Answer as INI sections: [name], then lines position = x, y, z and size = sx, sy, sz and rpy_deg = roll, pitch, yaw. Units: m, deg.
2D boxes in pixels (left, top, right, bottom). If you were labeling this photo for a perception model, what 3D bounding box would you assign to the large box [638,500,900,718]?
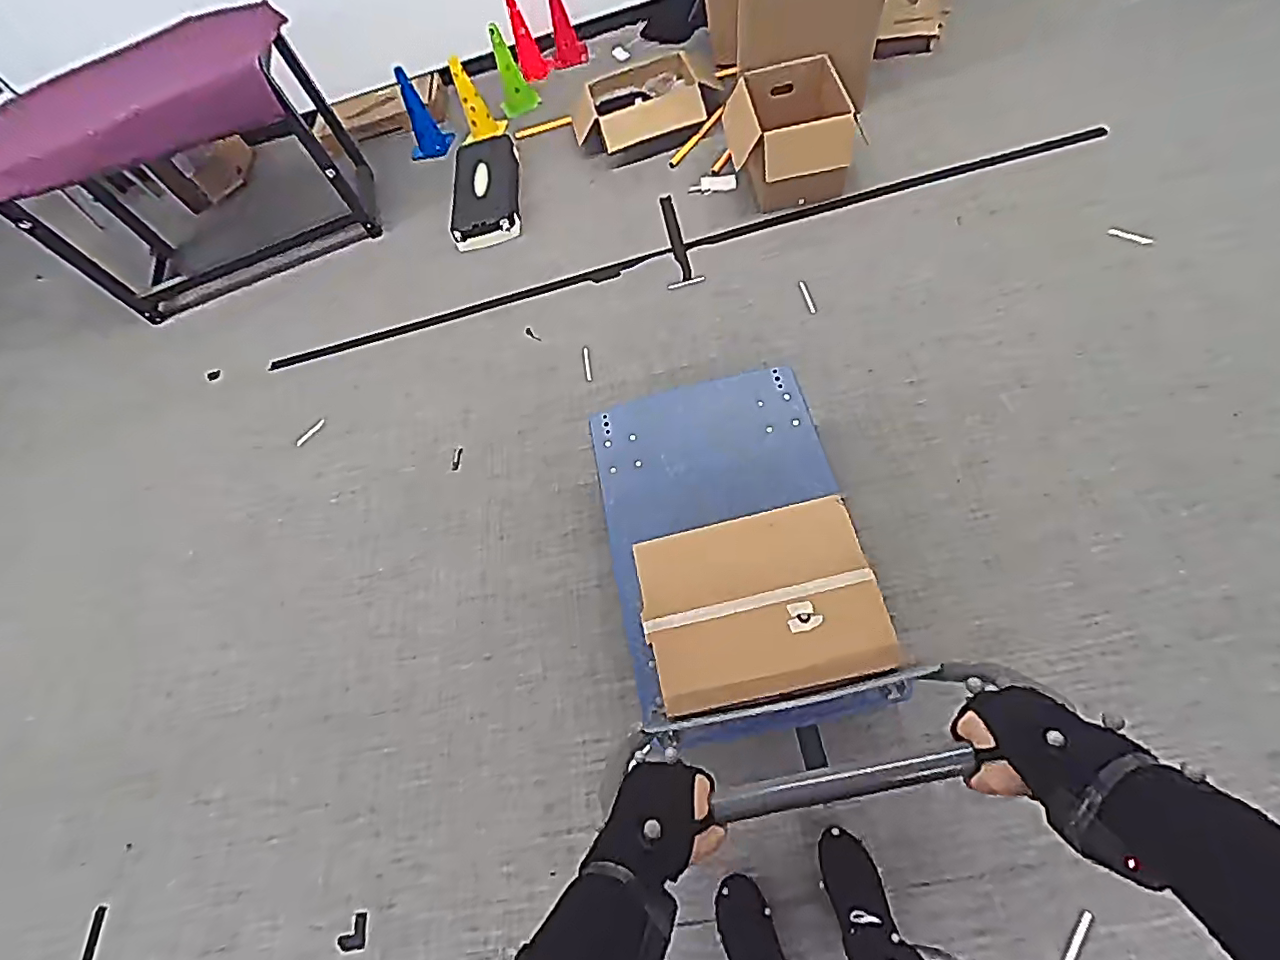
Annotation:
[large box]
position = 0.238, 0.280, 1.110
size = 0.408, 0.320, 0.320
rpy_deg = -14, 66, 3
